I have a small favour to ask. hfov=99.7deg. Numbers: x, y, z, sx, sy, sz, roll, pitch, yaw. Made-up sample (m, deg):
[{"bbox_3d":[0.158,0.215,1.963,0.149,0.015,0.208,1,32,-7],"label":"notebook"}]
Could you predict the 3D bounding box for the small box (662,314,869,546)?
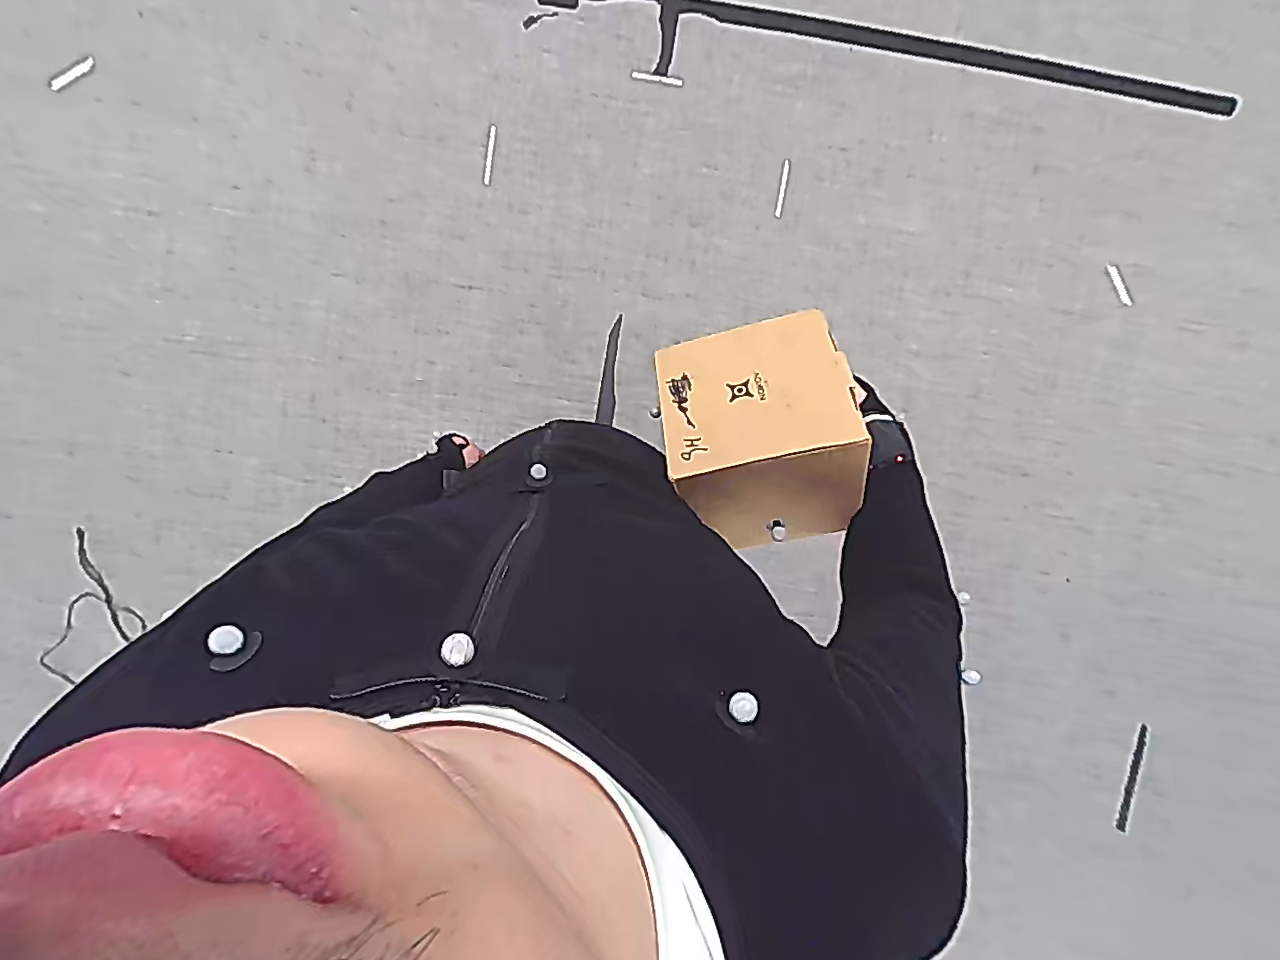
[{"bbox_3d":[0.131,-0.045,0.590,0.179,0.176,0.168,-12,55,11],"label":"small box"}]
